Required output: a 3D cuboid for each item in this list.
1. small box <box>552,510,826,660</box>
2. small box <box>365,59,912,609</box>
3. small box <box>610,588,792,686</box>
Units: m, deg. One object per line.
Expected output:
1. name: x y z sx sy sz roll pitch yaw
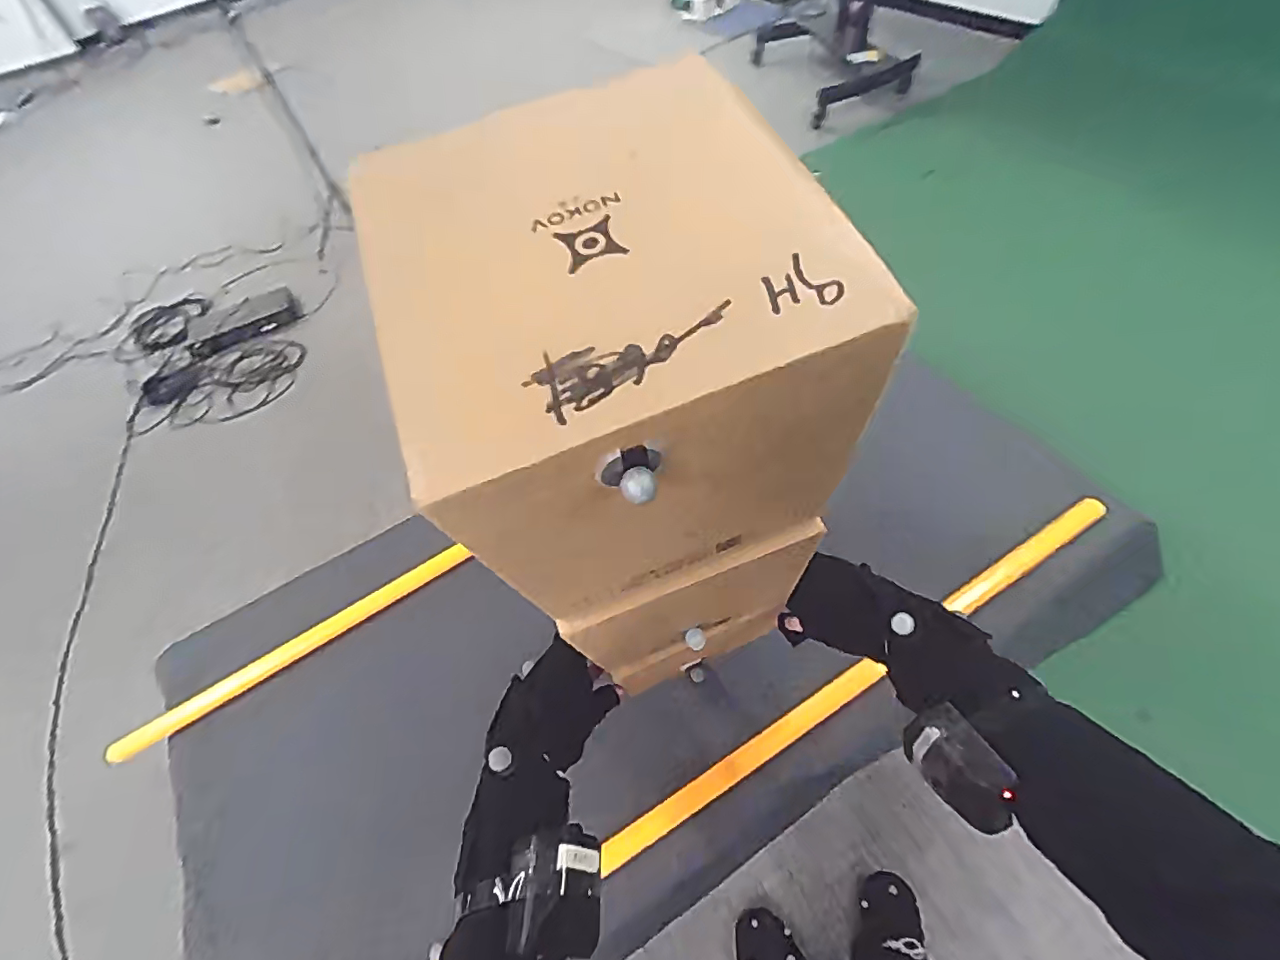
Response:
1. small box: 0.013 0.019 0.417 0.168 0.176 0.179 -21 64 -2
2. small box: -0.008 -0.058 0.274 0.168 0.176 0.179 -21 63 -2
3. small box: 0.031 0.095 0.563 0.168 0.176 0.179 -24 65 -4
